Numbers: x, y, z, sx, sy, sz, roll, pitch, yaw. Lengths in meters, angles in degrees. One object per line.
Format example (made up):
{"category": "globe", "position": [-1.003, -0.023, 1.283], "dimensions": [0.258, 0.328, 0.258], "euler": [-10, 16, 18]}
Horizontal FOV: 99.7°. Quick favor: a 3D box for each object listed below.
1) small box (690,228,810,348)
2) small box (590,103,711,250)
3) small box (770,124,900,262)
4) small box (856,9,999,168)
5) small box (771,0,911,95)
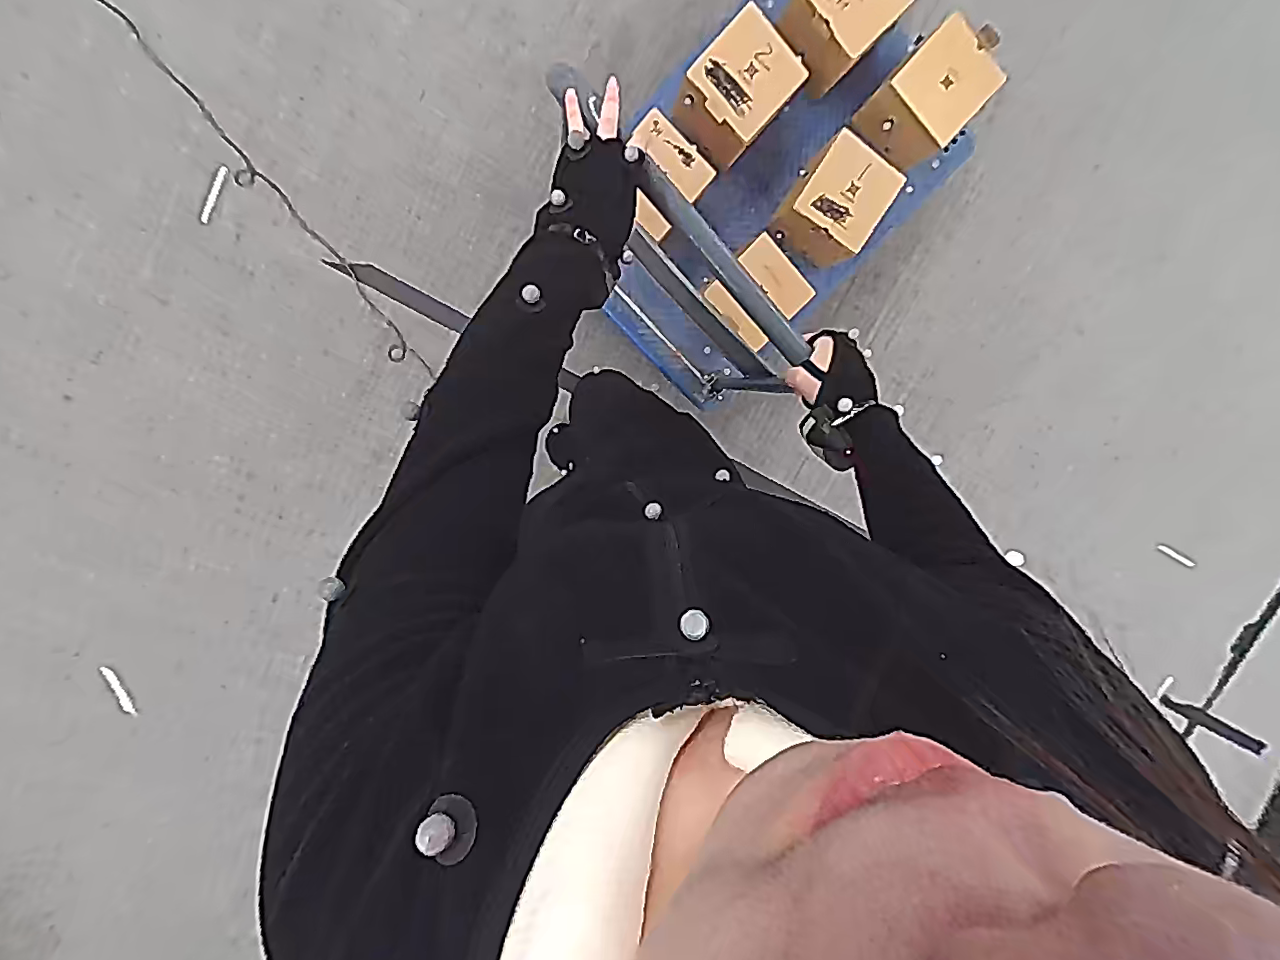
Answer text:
{"category": "small box", "position": [0.225, -0.402, 1.171], "dimensions": [0.179, 0.176, 0.168], "euler": [-44, 104, 4]}
{"category": "small box", "position": [0.015, -0.601, 1.101], "dimensions": [0.168, 0.176, 0.179], "euler": [41, 95, -14]}
{"category": "small box", "position": [0.398, -0.592, 1.147], "dimensions": [0.168, 0.176, 0.179], "euler": [32, 96, -12]}
{"category": "small box", "position": [0.580, -0.795, 1.124], "dimensions": [0.168, 0.176, 0.179], "euler": [42, 95, -12]}
{"category": "small box", "position": [0.392, -0.927, 1.072], "dimensions": [0.179, 0.176, 0.168], "euler": [-43, 103, 4]}
